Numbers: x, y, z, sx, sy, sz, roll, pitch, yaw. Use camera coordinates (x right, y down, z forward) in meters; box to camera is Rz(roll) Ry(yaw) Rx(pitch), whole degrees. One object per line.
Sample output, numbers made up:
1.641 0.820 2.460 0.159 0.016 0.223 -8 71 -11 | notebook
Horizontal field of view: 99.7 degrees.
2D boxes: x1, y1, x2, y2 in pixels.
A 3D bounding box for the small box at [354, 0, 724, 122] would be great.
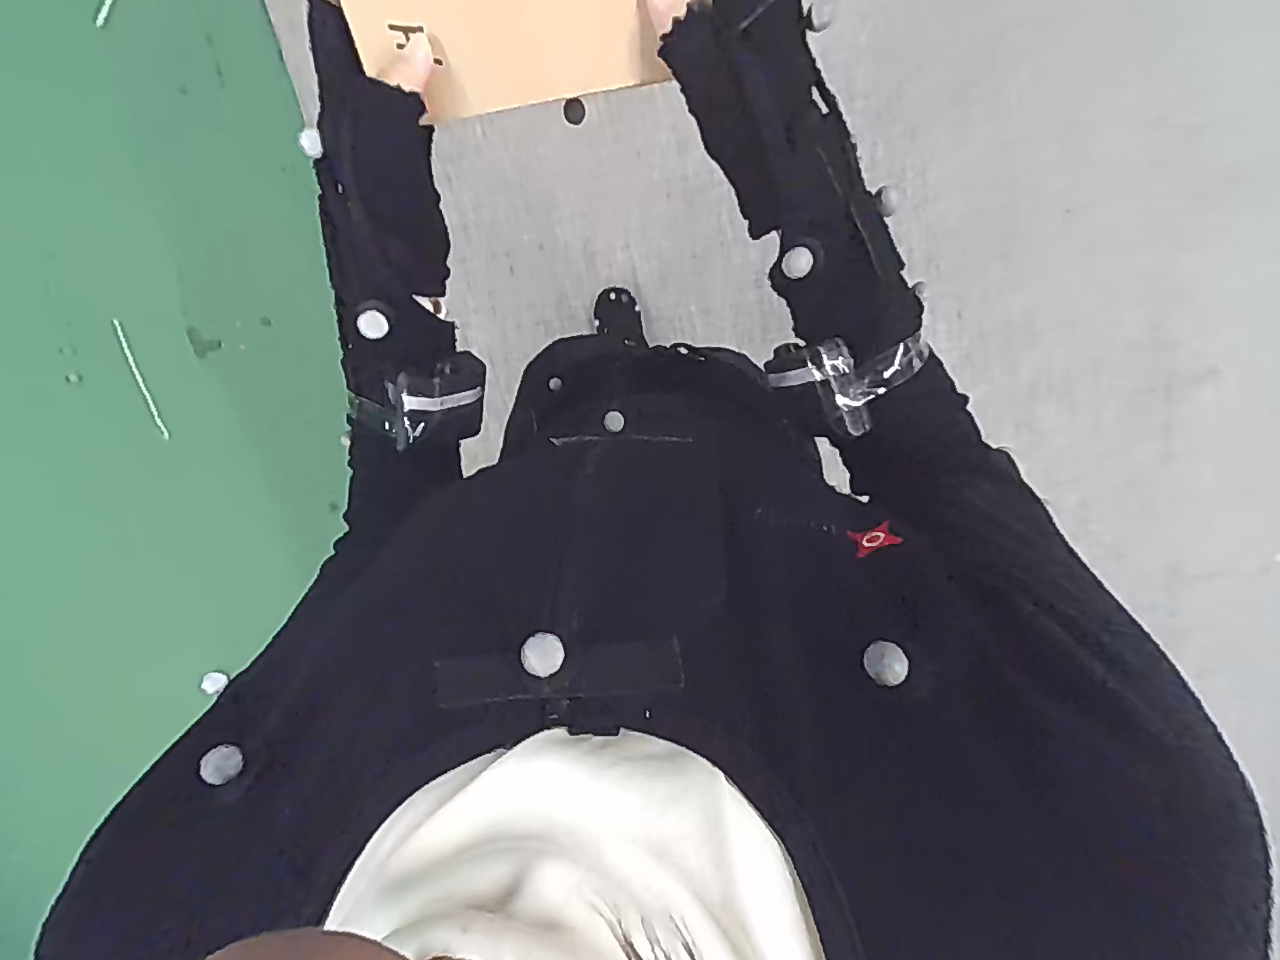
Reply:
-0.057 -0.311 0.297 0.179 0.176 0.168 -8 125 4 | small box
